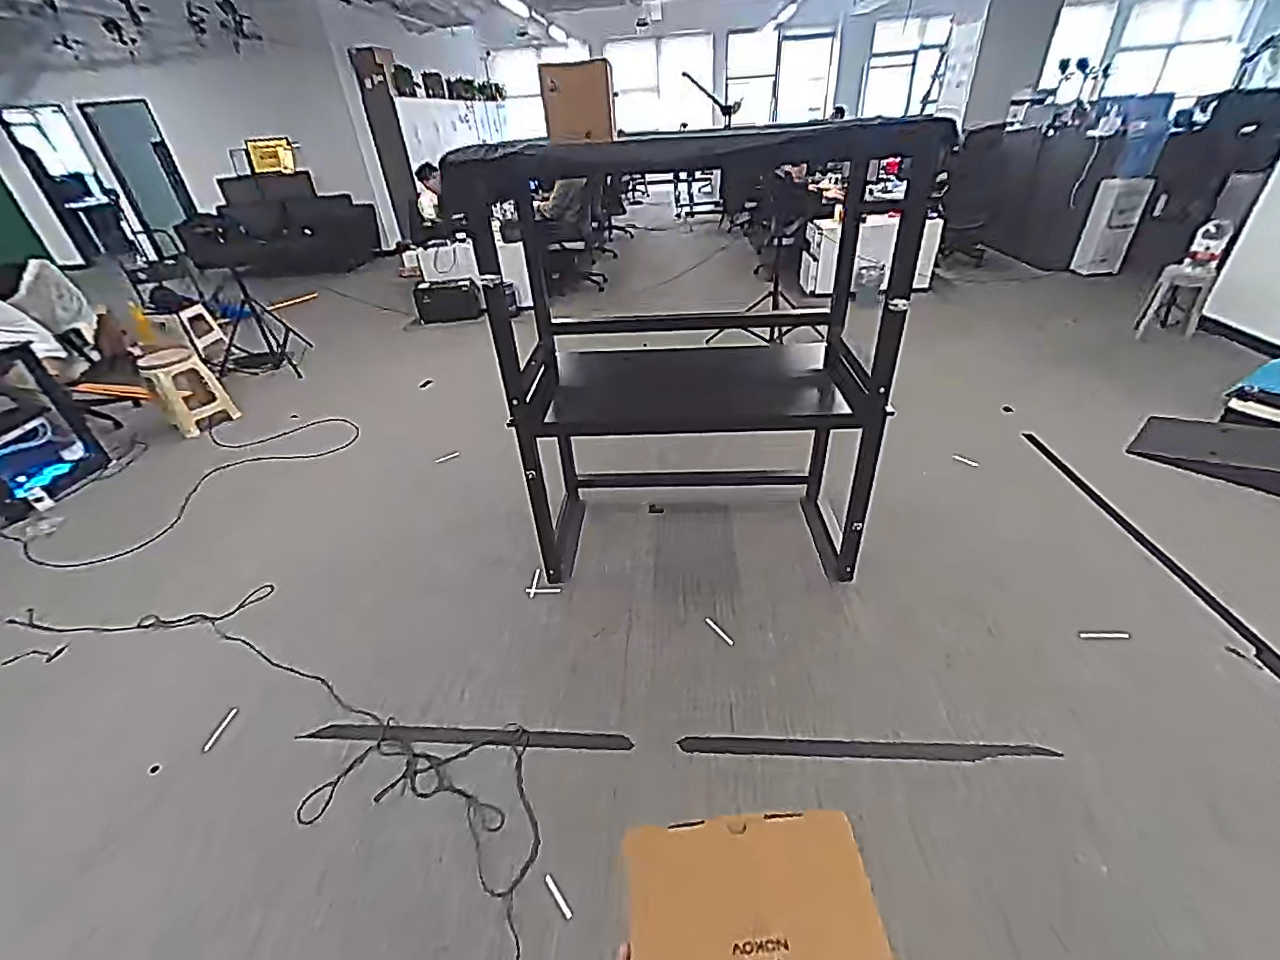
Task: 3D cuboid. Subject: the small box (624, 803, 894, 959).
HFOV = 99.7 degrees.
[{"bbox_3d":[0.077,0.361,0.383,0.168,0.176,0.179,-3,38,-3],"label":"small box"}]
